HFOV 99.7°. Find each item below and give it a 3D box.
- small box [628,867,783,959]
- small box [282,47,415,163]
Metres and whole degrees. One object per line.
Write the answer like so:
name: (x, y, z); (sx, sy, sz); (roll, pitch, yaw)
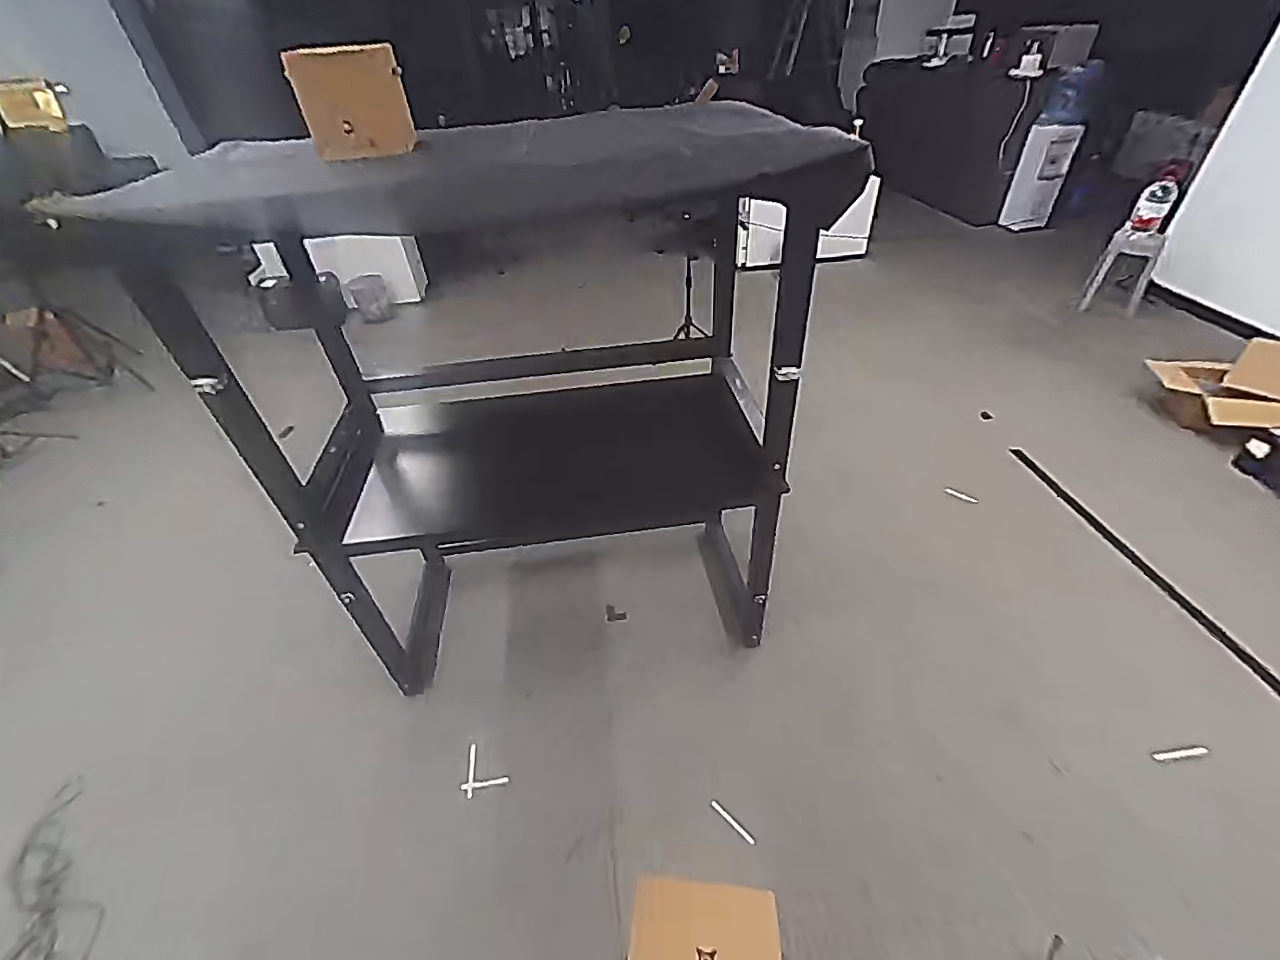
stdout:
small box: (0.066, 0.580, 0.602); (0.168, 0.176, 0.179); (4, 25, 3)
small box: (-0.550, -0.727, 1.051); (0.168, 0.176, 0.179); (-11, 42, -8)
